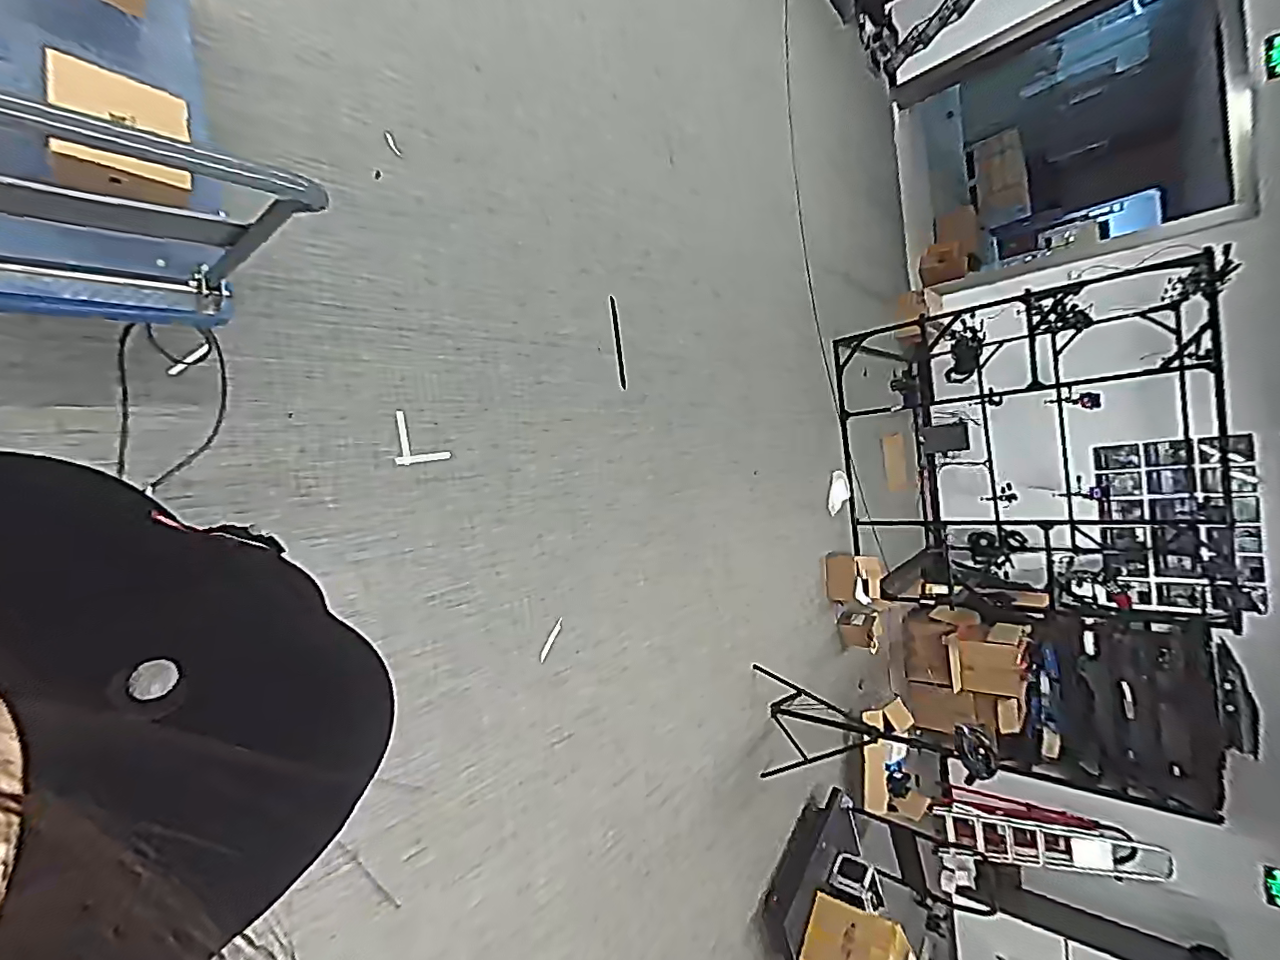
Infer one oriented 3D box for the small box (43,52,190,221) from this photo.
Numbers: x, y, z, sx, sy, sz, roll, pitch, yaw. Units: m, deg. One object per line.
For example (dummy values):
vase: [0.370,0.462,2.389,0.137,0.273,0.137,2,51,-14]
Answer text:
small box: [-0.931,-0.591,0.963,0.179,0.176,0.168,-3,89,-49]
